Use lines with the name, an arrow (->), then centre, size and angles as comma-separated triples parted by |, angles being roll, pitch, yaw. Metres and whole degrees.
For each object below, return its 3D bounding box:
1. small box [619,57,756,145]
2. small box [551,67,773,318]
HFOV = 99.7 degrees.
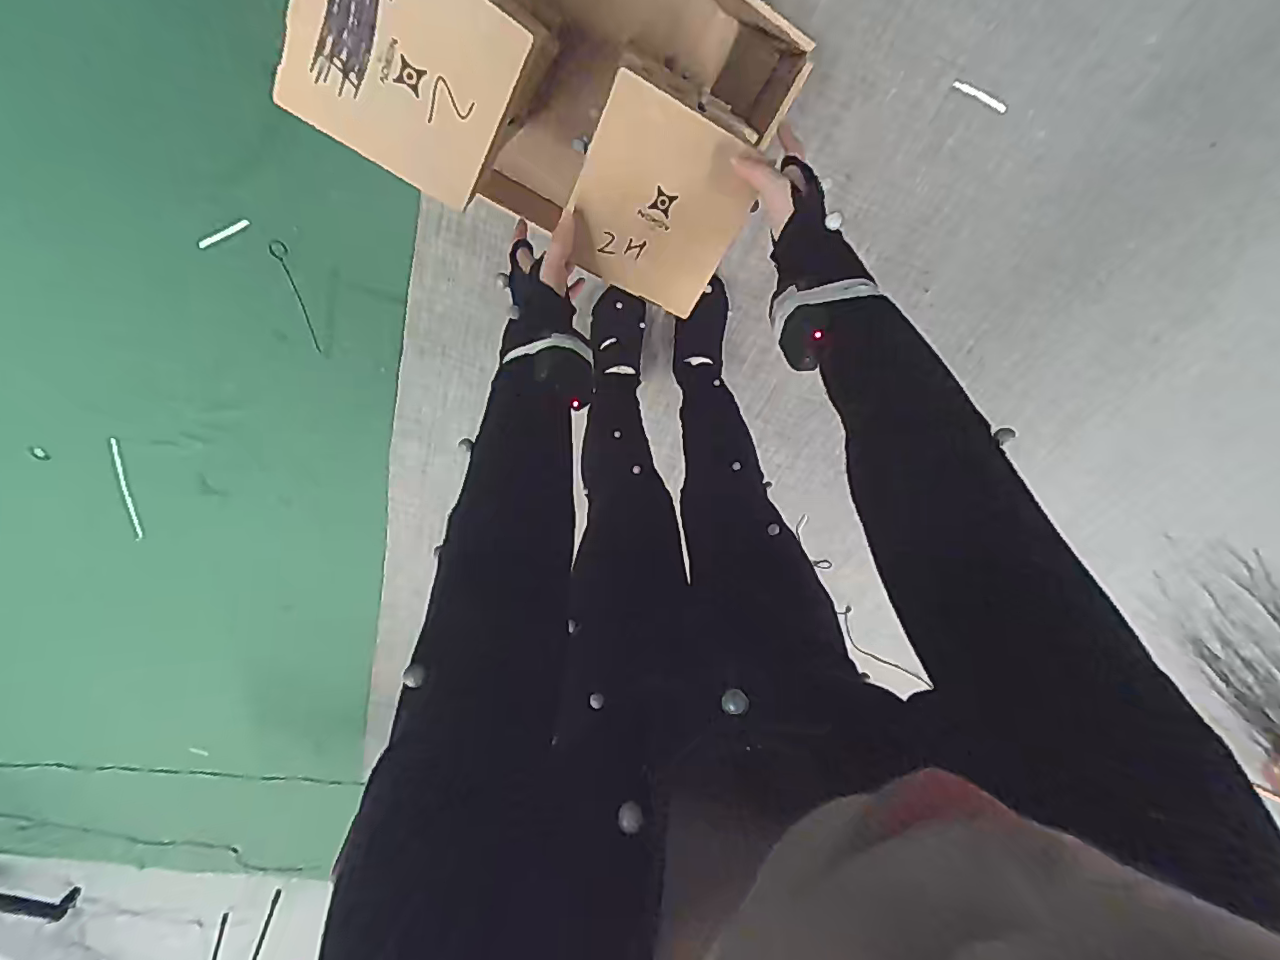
small box -> 0.027, -0.430, 0.718 | 0.179, 0.176, 0.168 | 21, 126, -16
small box -> 0.016, -0.319, 0.596 | 0.168, 0.176, 0.179 | 22, 126, -17
